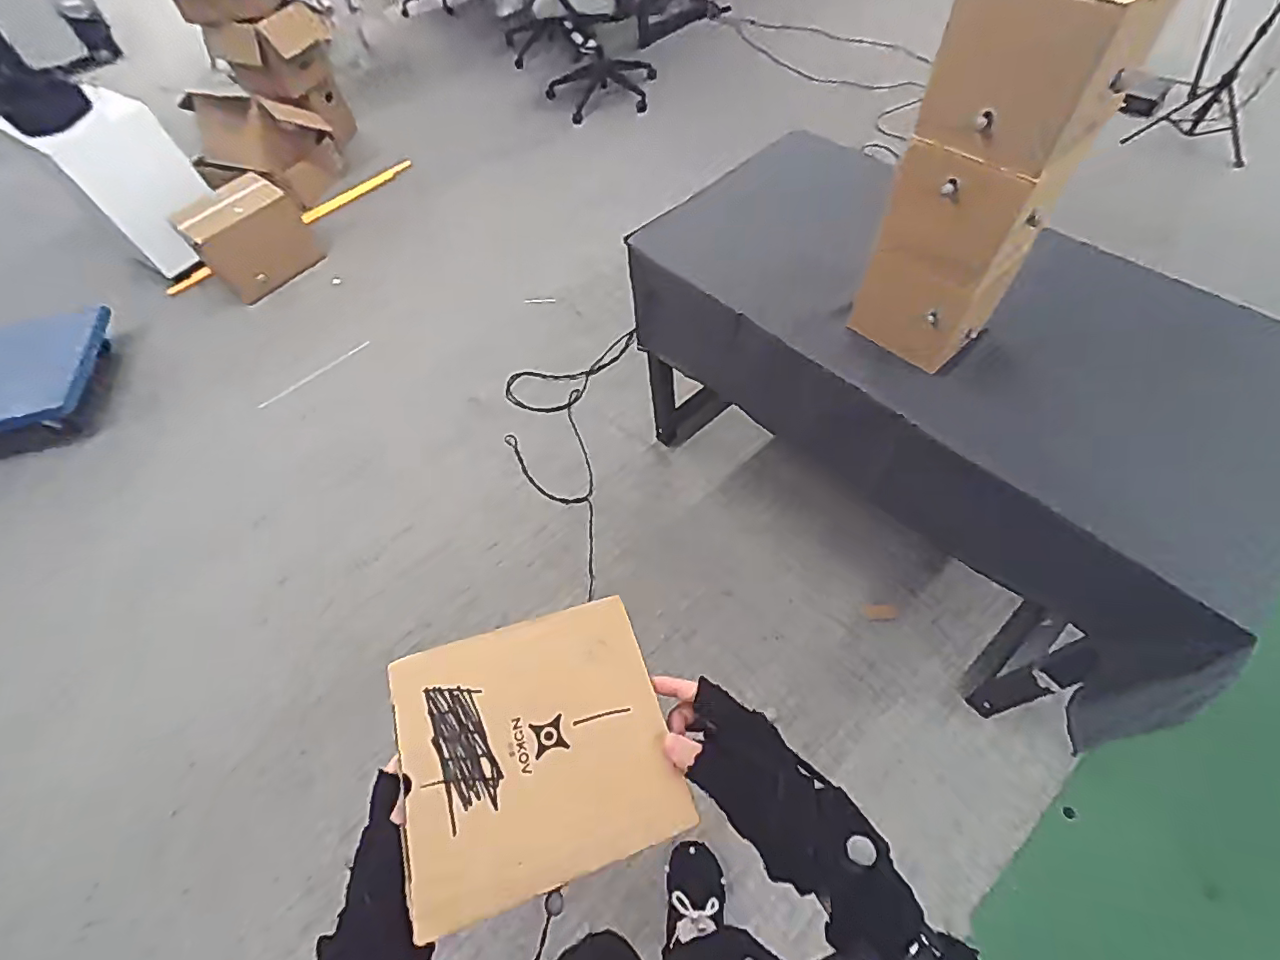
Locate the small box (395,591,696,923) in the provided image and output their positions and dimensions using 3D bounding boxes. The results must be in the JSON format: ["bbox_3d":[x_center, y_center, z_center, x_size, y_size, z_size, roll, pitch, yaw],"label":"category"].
[{"bbox_3d":[-0.076,0.217,0.433,0.179,0.176,0.168,-13,57,-17],"label":"small box"}]

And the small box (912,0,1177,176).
[{"bbox_3d":[0.471,-0.497,0.646,0.168,0.176,0.179,-37,62,-17],"label":"small box"}]

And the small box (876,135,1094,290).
[{"bbox_3d":[0.481,-0.405,0.781,0.168,0.176,0.179,-39,62,-18],"label":"small box"}]
